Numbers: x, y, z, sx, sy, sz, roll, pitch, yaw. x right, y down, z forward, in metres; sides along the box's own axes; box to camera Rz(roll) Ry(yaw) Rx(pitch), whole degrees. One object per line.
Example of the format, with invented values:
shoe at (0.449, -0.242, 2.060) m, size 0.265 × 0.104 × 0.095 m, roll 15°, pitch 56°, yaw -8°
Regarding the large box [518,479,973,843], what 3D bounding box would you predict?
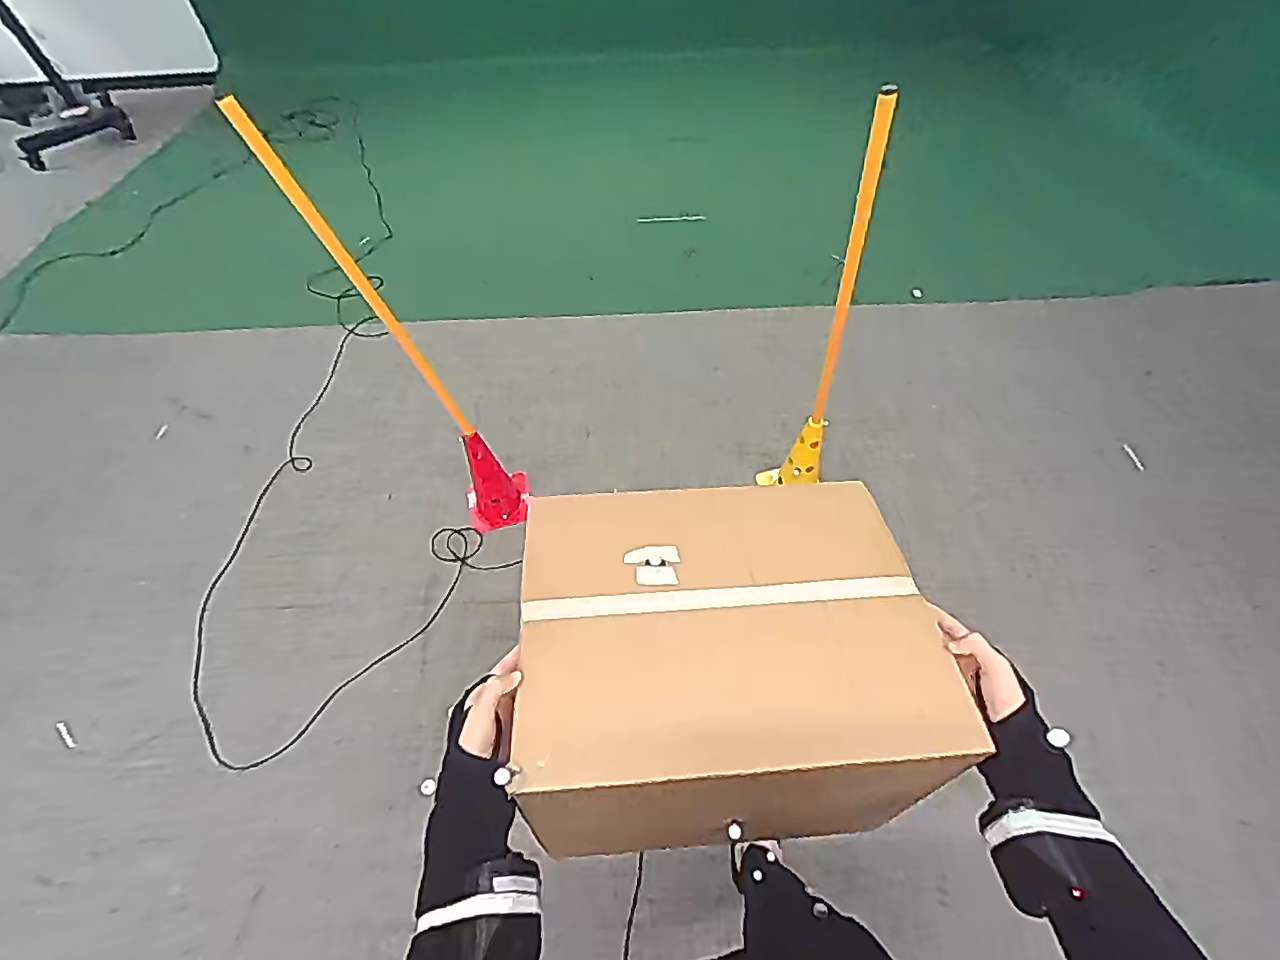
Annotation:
large box at (0.084, 0.226, 0.666) m, size 0.408 × 0.320 × 0.320 m, roll -4°, pitch 47°, yaw -3°
